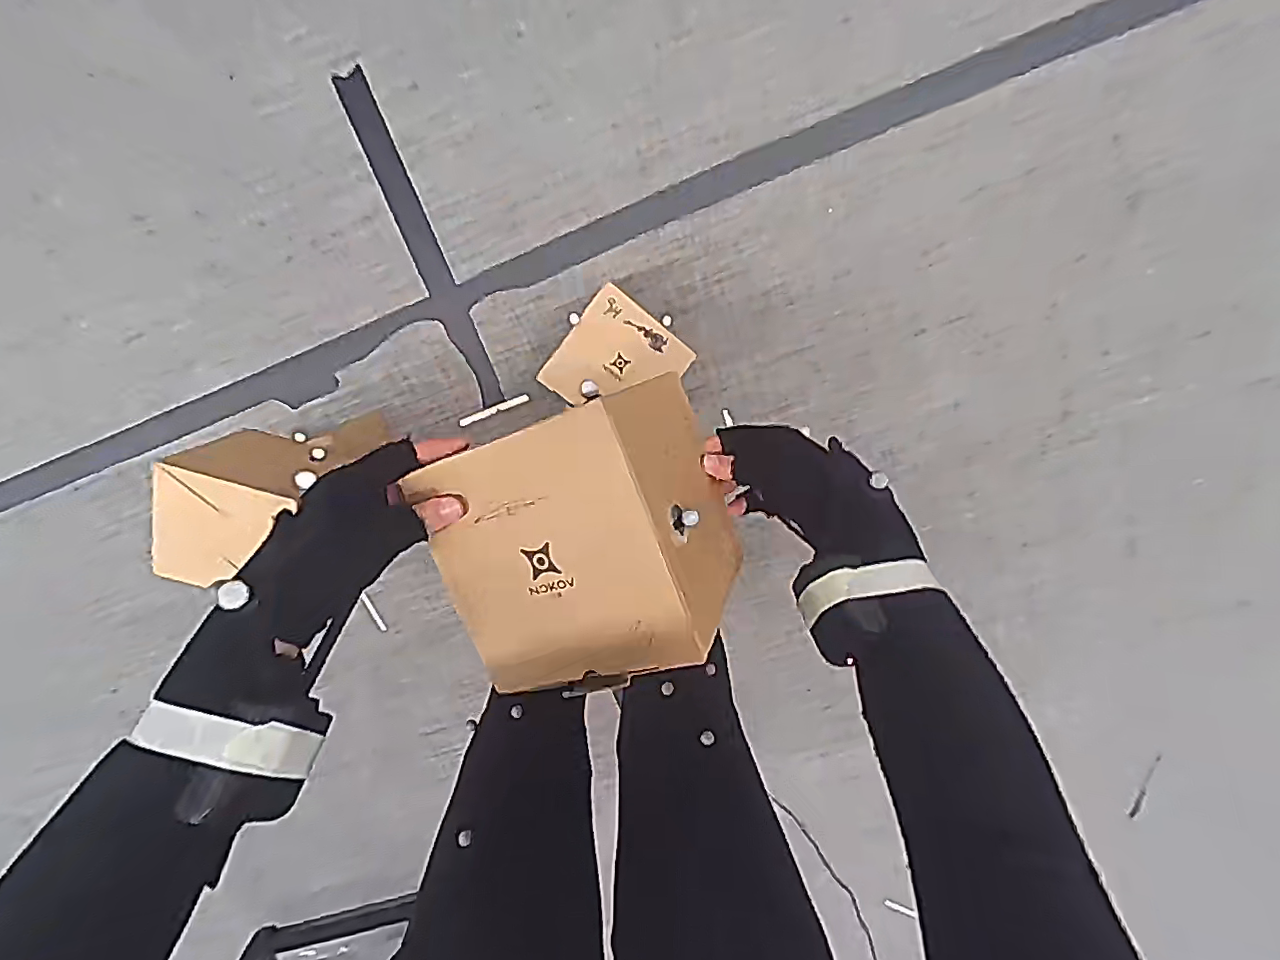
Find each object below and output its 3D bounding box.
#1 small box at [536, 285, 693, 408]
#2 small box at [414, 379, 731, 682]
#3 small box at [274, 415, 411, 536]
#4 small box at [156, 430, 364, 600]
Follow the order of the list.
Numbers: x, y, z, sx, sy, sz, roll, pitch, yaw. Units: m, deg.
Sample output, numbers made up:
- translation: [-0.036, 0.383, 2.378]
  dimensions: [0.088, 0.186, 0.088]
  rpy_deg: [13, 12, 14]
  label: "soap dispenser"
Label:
- translation: [-0.036, -0.186, 0.859]
  dimensions: [0.168, 0.176, 0.179]
  rpy_deg: [38, 106, -14]
  label: "small box"
- translation: [-0.035, 0.033, 0.437]
  dimensions: [0.168, 0.176, 0.179]
  rpy_deg: [-14, 103, 22]
  label: "small box"
- translation: [-0.523, 0.001, 0.930]
  dimensions: [0.179, 0.176, 0.168]
  rpy_deg: [-16, 108, 7]
  label: "small box"
- translation: [-0.528, 0.047, 0.769]
  dimensions: [0.179, 0.176, 0.168]
  rpy_deg: [17, 109, -5]
  label: "small box"
